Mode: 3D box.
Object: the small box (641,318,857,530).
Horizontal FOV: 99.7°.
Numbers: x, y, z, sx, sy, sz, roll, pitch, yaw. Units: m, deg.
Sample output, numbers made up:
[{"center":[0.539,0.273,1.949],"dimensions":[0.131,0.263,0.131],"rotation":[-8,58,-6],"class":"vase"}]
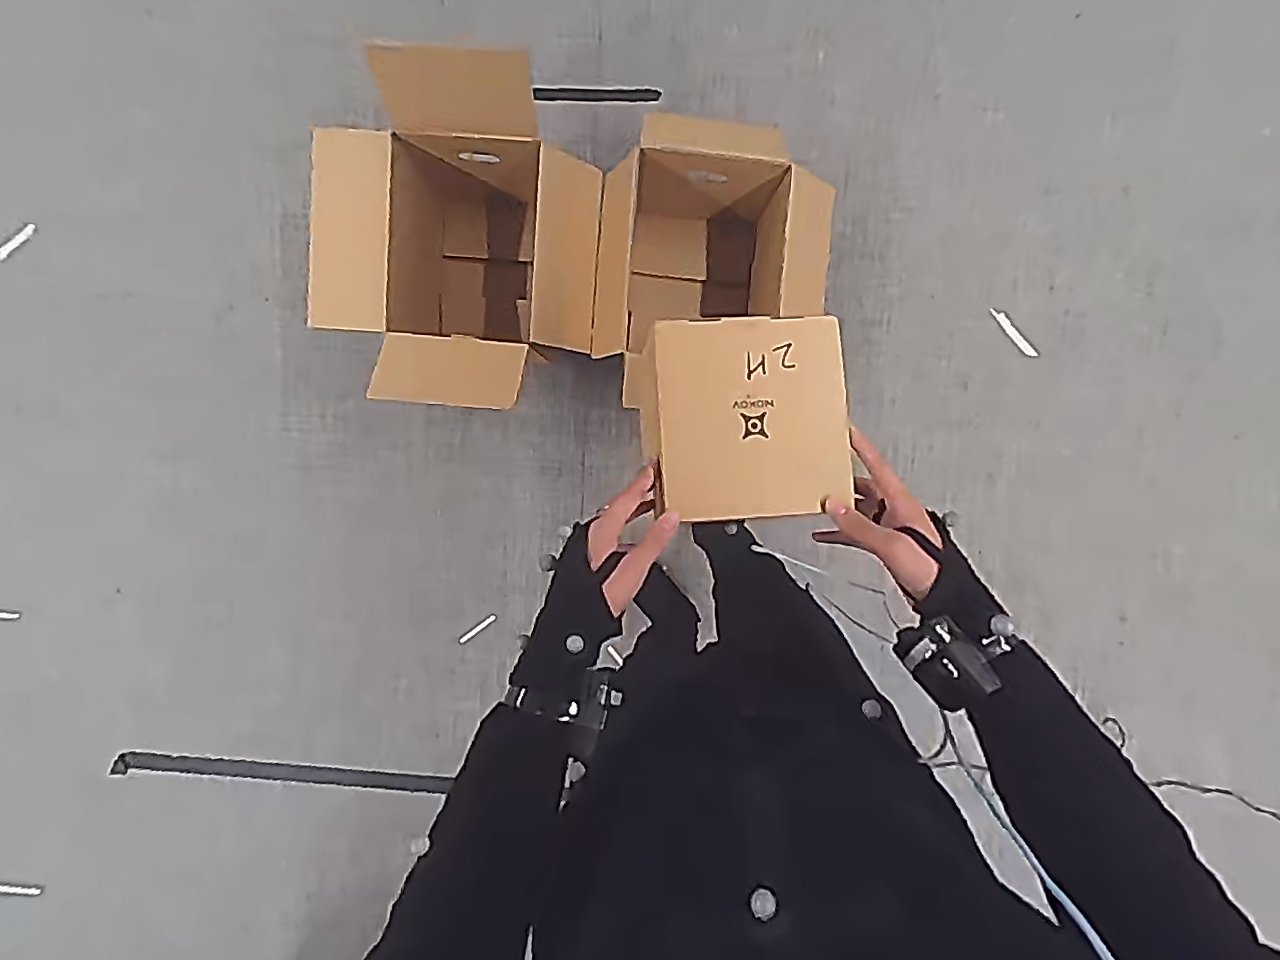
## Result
[{"center":[0.092,-0.045,0.534],"dimensions":[0.168,0.176,0.179],"rotation":[-3,86,-6],"class":"small box"}]
